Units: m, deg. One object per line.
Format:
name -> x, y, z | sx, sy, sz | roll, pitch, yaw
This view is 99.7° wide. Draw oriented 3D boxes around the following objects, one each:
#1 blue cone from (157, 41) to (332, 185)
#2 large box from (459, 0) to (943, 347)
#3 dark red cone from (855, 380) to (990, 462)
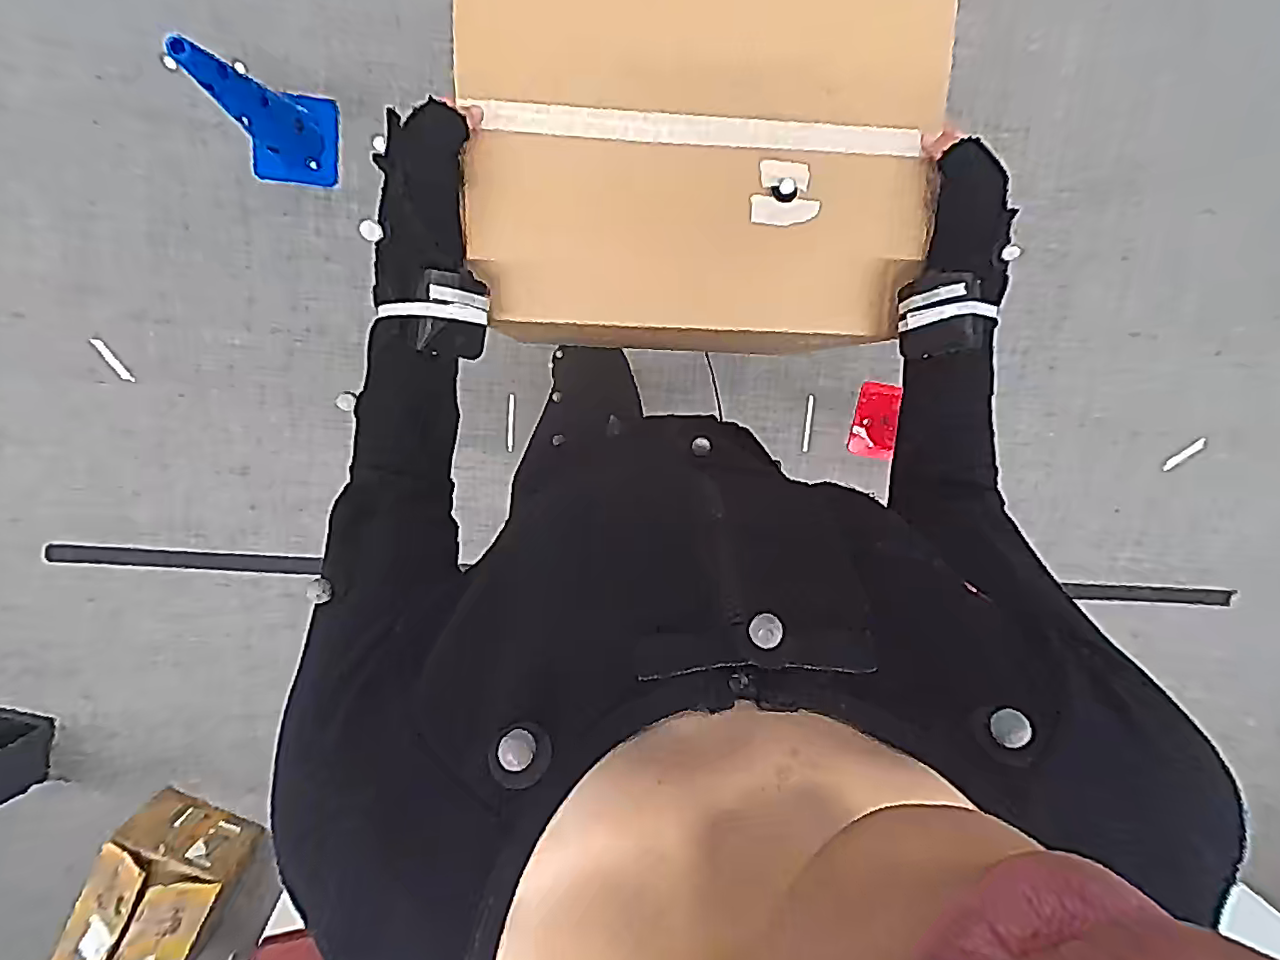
blue cone -> -0.839, -0.795, 1.148 | 0.192, 0.380, 0.193 | 7, 99, -2
large box -> 0.040, -0.318, 0.599 | 0.408, 0.320, 0.320 | 1, 100, -5
dark red cone -> 0.687, -0.128, 1.279 | 0.201, 0.394, 0.202 | 9, 99, -3
